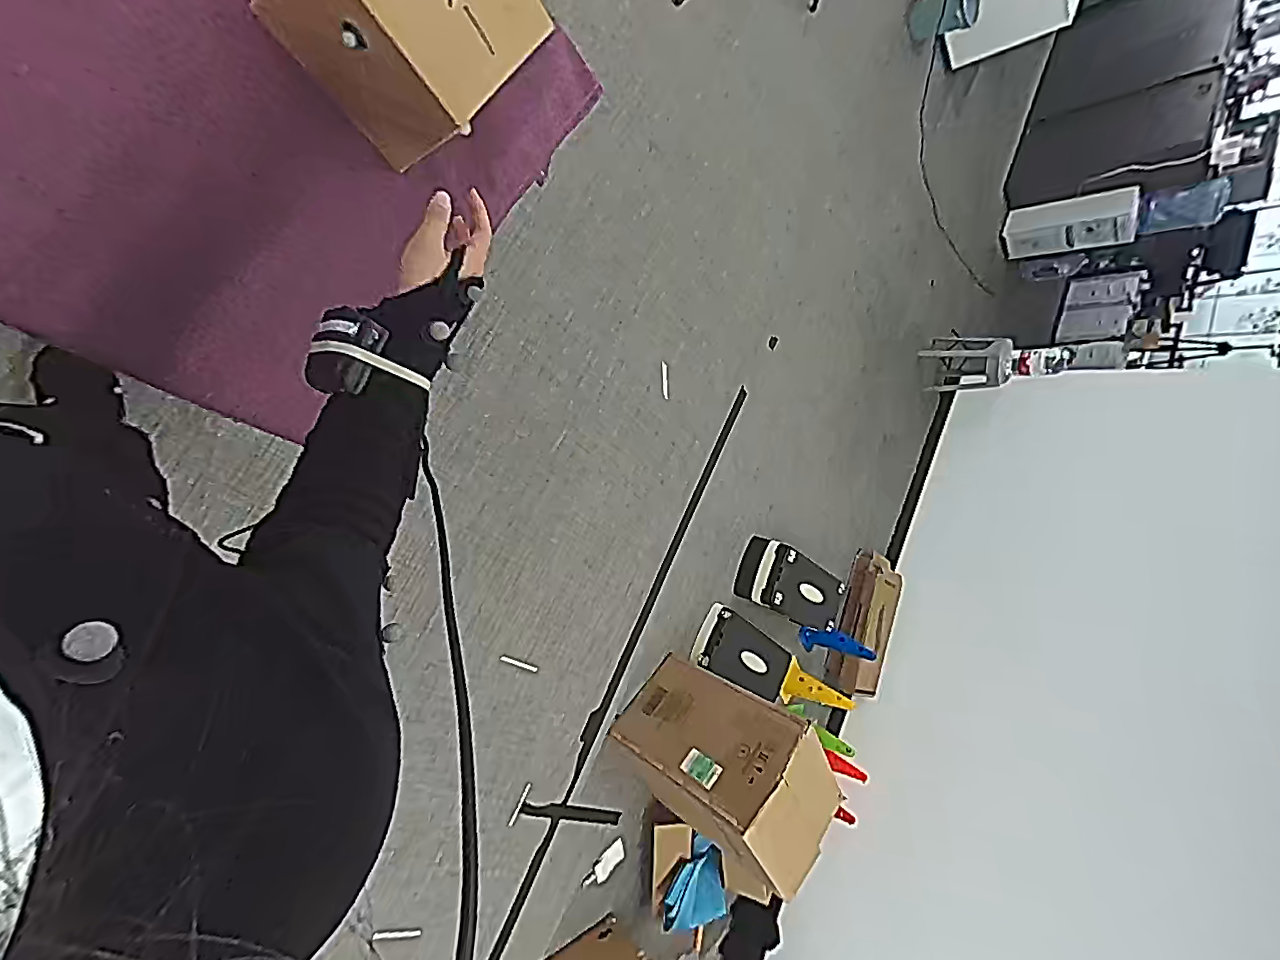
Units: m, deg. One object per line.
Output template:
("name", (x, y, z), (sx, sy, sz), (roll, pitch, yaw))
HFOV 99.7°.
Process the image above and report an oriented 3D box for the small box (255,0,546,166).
("small box", (-0.237, -0.455, 0.536), (0.179, 0.176, 0.168), (46, 67, -40))
